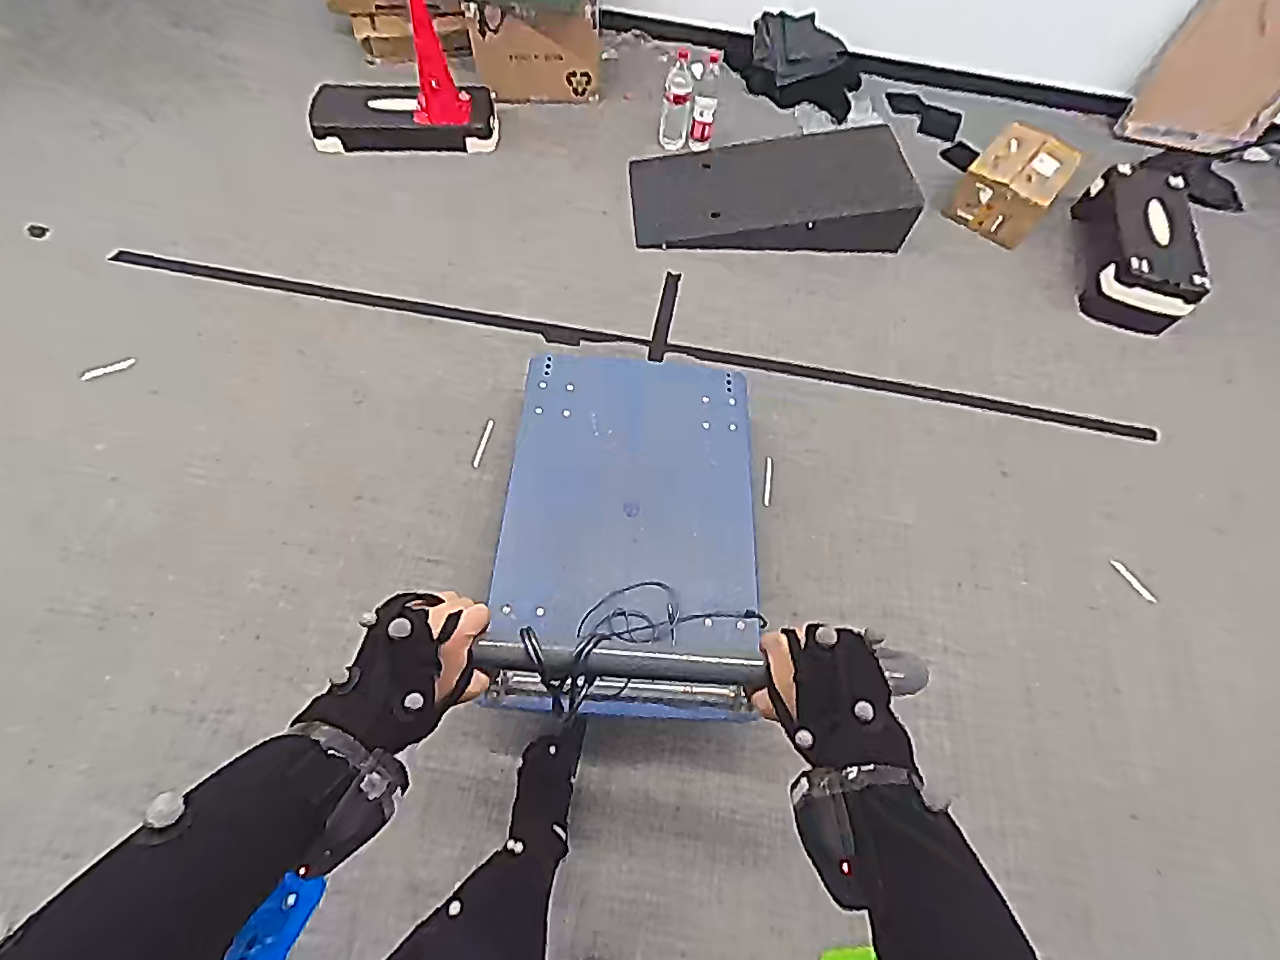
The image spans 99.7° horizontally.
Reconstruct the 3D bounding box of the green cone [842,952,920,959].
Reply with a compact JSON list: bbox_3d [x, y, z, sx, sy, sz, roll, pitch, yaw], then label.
[{"bbox_3d":[0.458,0.912,0.825,0.200,0.368,0.202,-1,63,-5],"label":"green cone"}]

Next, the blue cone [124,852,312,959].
[{"bbox_3d":[-0.709,0.731,0.837,0.193,0.380,0.192,24,63,8],"label":"blue cone"}]
